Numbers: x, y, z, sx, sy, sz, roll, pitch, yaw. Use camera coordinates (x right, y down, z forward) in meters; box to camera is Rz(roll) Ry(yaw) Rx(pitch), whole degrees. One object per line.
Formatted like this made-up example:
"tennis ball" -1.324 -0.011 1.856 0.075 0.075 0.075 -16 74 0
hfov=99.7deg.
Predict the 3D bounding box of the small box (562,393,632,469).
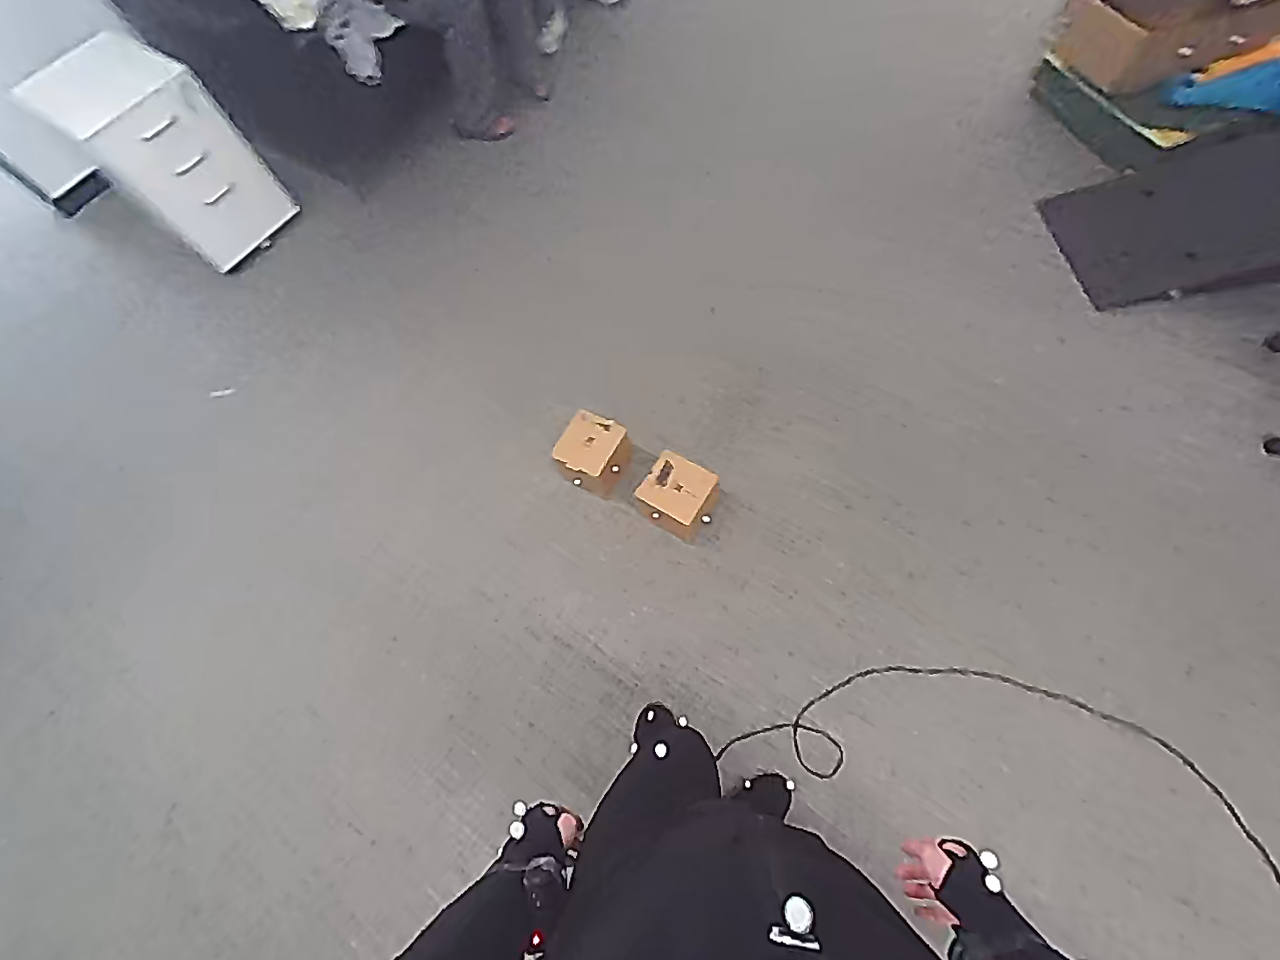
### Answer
"small box" -0.124 -0.142 1.627 0.179 0.176 0.168 -3 65 8

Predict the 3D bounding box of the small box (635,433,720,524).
"small box" 0.111 0.001 1.542 0.179 0.176 0.168 34 78 19
